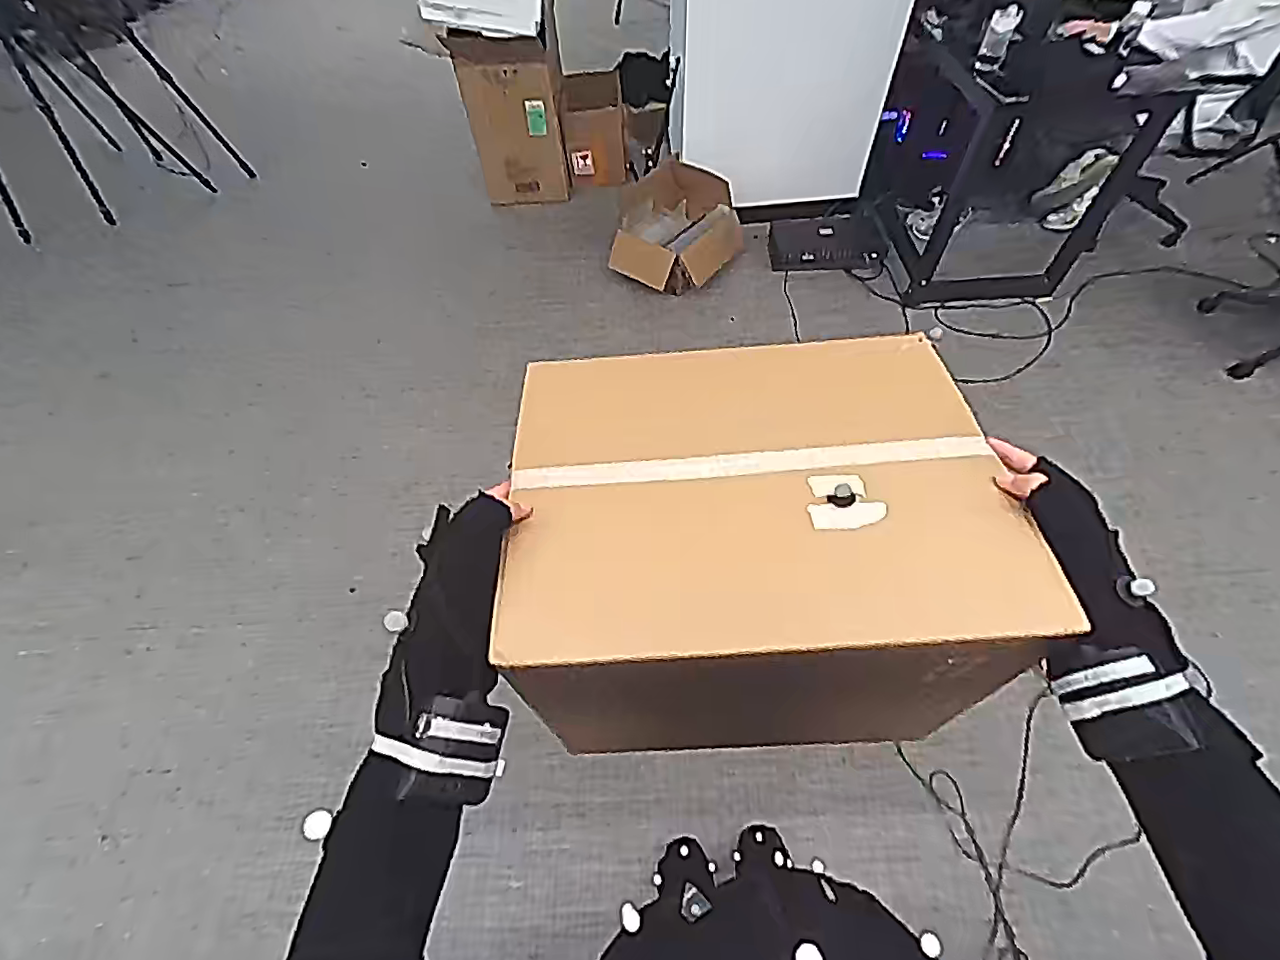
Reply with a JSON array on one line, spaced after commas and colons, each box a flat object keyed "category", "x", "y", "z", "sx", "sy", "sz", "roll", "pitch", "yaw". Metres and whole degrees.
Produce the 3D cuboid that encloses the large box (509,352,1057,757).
[{"category": "large box", "x": 0.102, "y": 0.092, "z": 0.593, "sx": 0.408, "sy": 0.320, "sz": 0.320, "roll": -4, "pitch": 52, "yaw": 2}]
